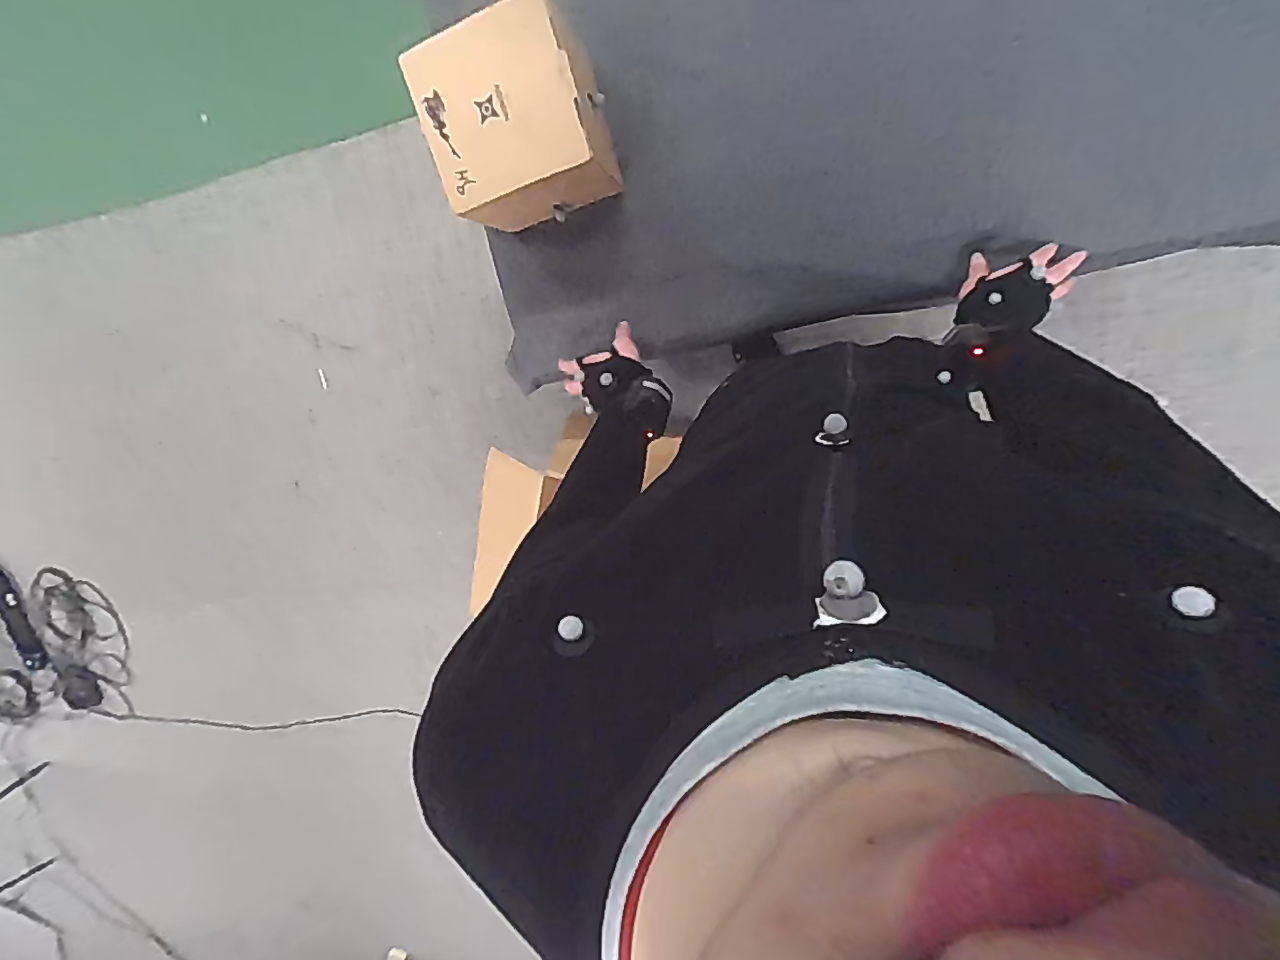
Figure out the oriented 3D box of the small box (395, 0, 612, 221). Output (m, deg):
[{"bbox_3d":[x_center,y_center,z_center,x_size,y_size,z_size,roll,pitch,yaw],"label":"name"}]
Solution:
[{"bbox_3d":[-0.141,-0.425,0.638,0.179,0.176,0.168,-13,105,14],"label":"small box"}]
